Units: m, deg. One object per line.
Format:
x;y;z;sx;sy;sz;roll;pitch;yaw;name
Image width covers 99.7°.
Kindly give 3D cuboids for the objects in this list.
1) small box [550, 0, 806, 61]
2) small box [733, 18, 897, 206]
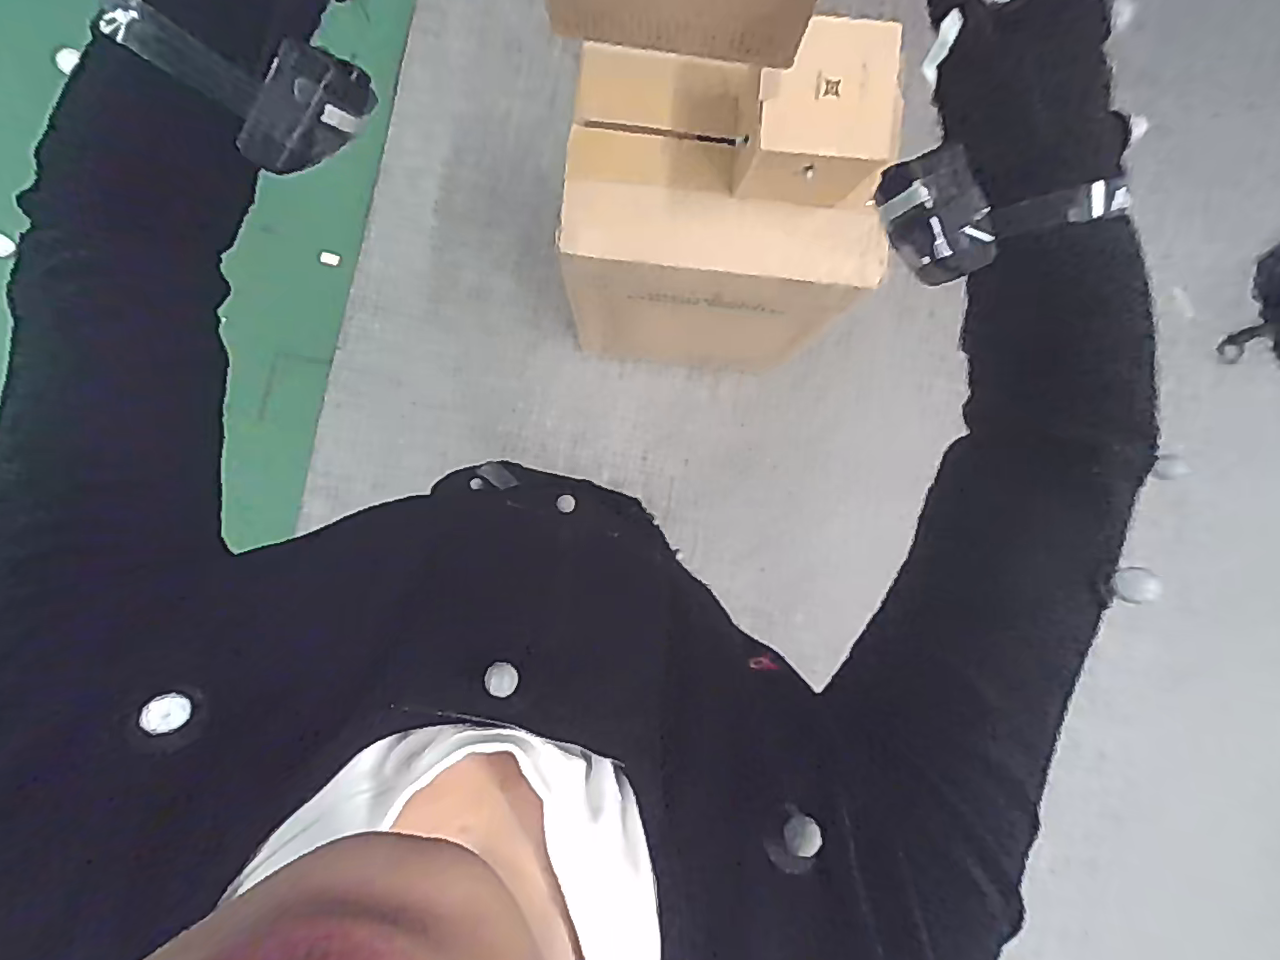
0.032;-0.386;0.308;0.179;0.176;0.168;8;91;-2;small box
0.239;-0.516;0.783;0.179;0.176;0.168;3;98;-4;small box
